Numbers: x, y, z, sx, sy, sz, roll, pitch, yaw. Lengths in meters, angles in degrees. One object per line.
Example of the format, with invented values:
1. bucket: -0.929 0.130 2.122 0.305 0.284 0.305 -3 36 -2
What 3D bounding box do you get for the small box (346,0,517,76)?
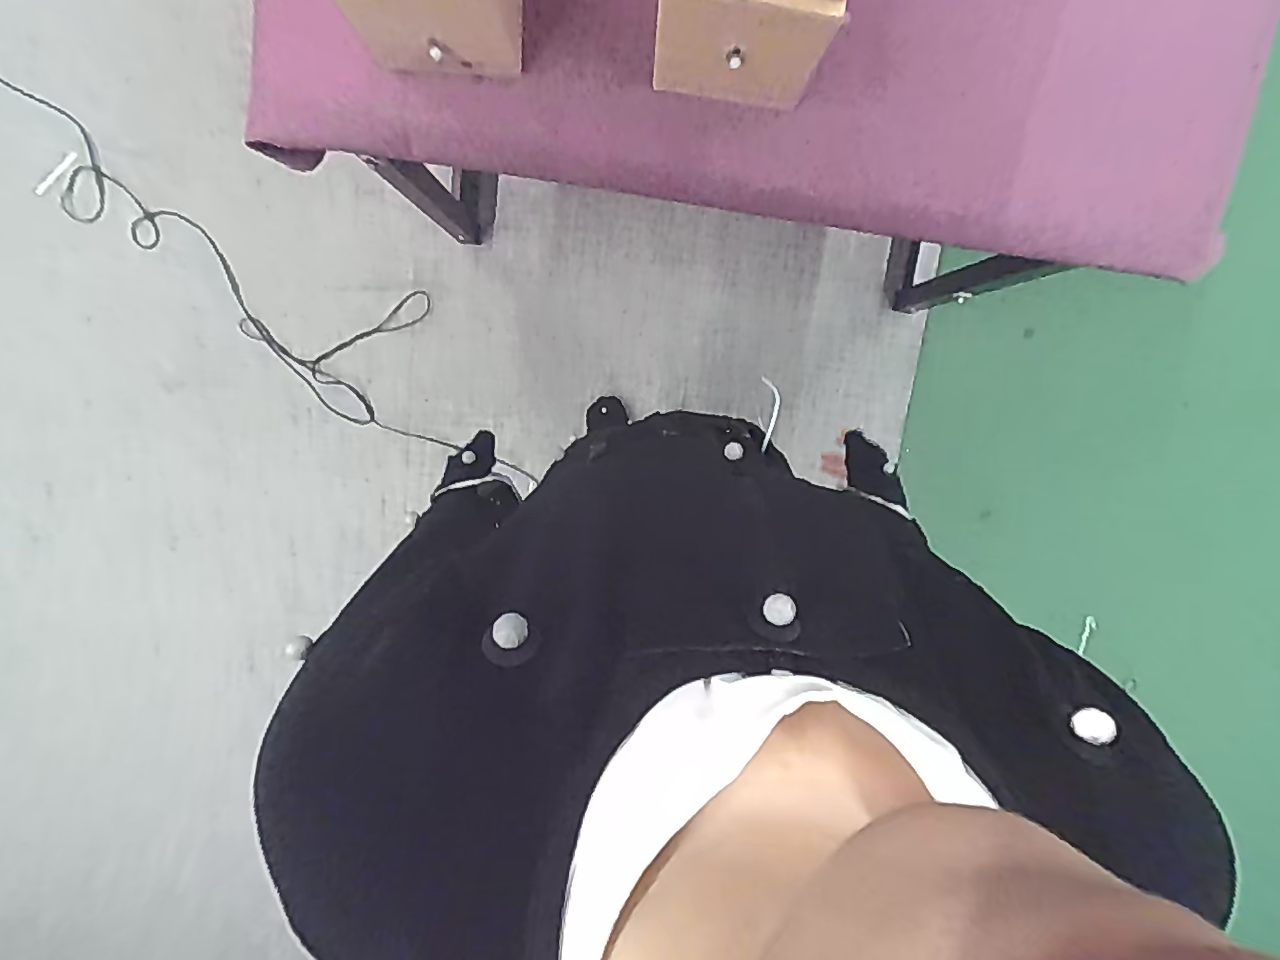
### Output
1. small box: -0.223 -0.567 0.558 0.168 0.176 0.179 3 99 -3
